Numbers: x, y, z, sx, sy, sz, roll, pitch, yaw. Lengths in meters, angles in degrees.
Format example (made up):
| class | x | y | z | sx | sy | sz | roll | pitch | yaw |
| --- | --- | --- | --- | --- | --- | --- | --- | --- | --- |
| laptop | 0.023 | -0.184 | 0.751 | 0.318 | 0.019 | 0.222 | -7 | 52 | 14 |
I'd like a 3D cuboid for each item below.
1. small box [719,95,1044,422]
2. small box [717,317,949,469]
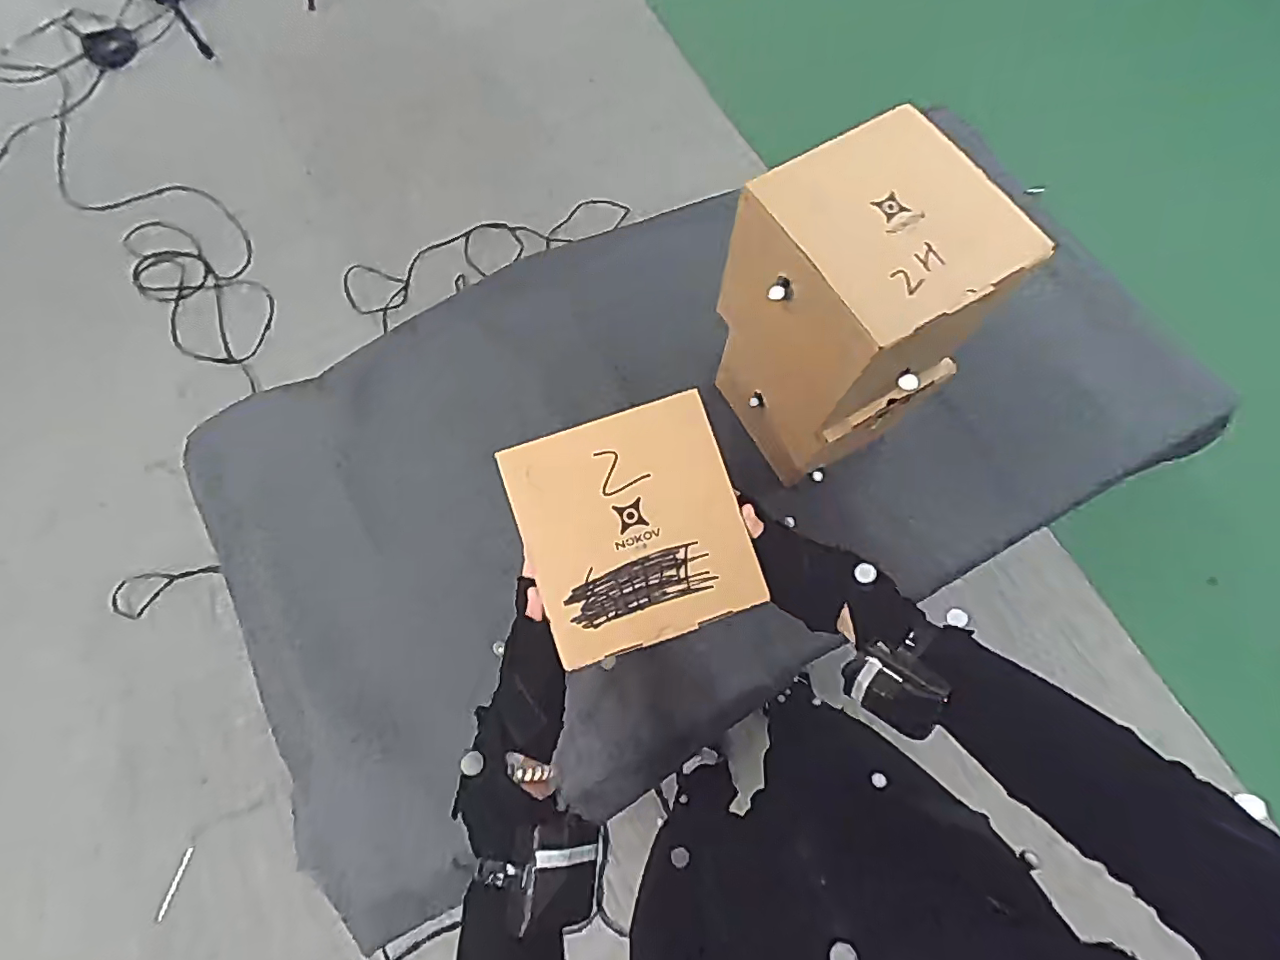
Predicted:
| class | x | y | z | sx | sy | sz | roll | pitch | yaw |
| --- | --- | --- | --- | --- | --- | --- | --- | --- | --- |
| small box | 0.188 | -0.183 | 0.486 | 0.168 | 0.176 | 0.179 | -31 | 76 | -7 |
| small box | 0.209 | -0.130 | 0.641 | 0.168 | 0.176 | 0.179 | -29 | 74 | -8 |
